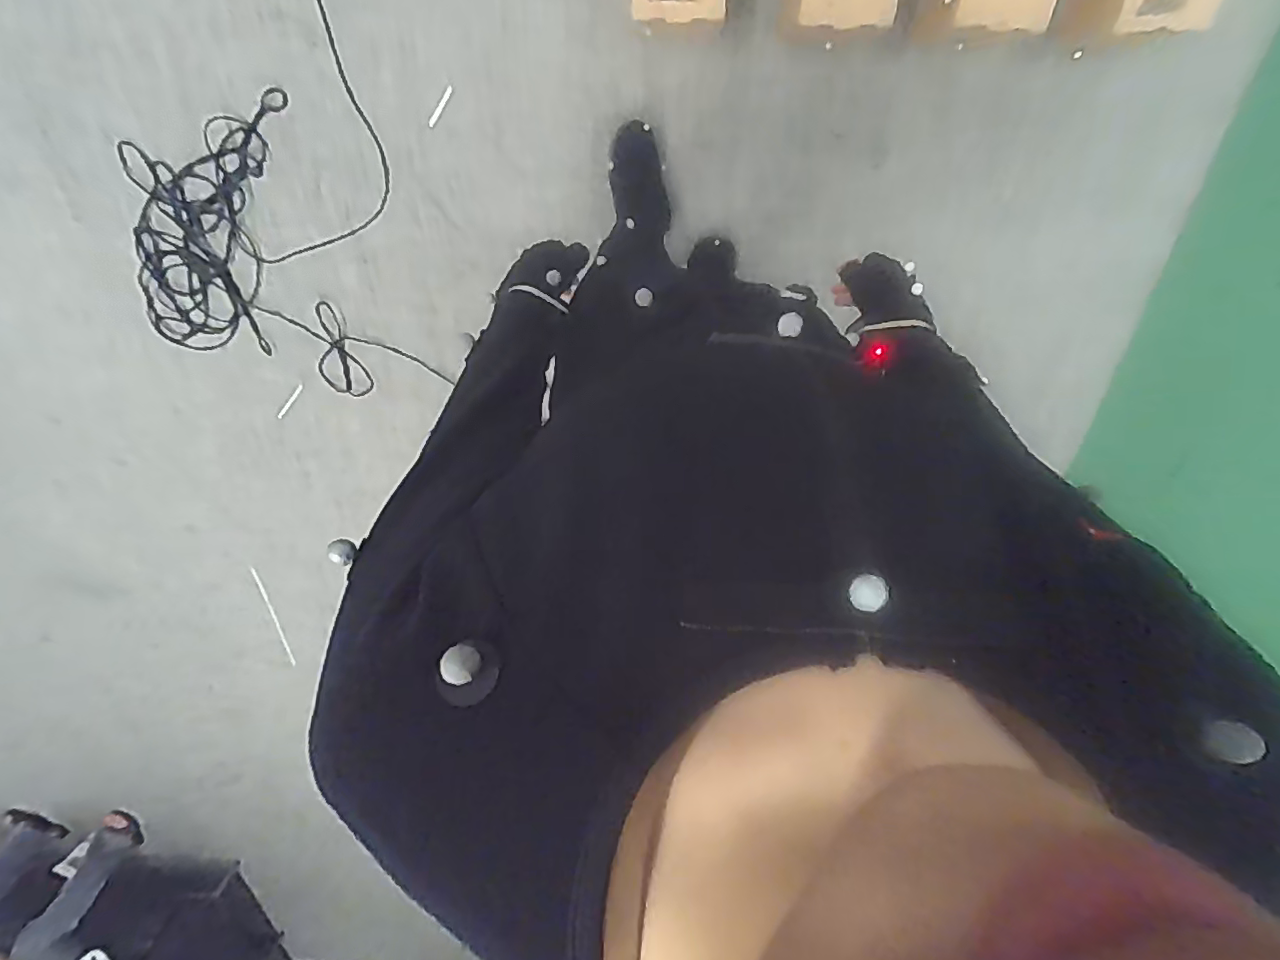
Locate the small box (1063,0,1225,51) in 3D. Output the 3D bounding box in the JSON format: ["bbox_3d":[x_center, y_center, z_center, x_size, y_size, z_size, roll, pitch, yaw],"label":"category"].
[{"bbox_3d":[0.904,-0.884,0.959,0.168,0.176,0.179,1,119,2],"label":"small box"}]

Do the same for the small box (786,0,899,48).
[{"bbox_3d":[0.367,-0.907,0.971,0.168,0.176,0.179,3,120,3],"label":"small box"}]

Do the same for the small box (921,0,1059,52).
[{"bbox_3d":[0.635,-0.897,0.966,0.168,0.176,0.179,4,120,1],"label":"small box"}]
